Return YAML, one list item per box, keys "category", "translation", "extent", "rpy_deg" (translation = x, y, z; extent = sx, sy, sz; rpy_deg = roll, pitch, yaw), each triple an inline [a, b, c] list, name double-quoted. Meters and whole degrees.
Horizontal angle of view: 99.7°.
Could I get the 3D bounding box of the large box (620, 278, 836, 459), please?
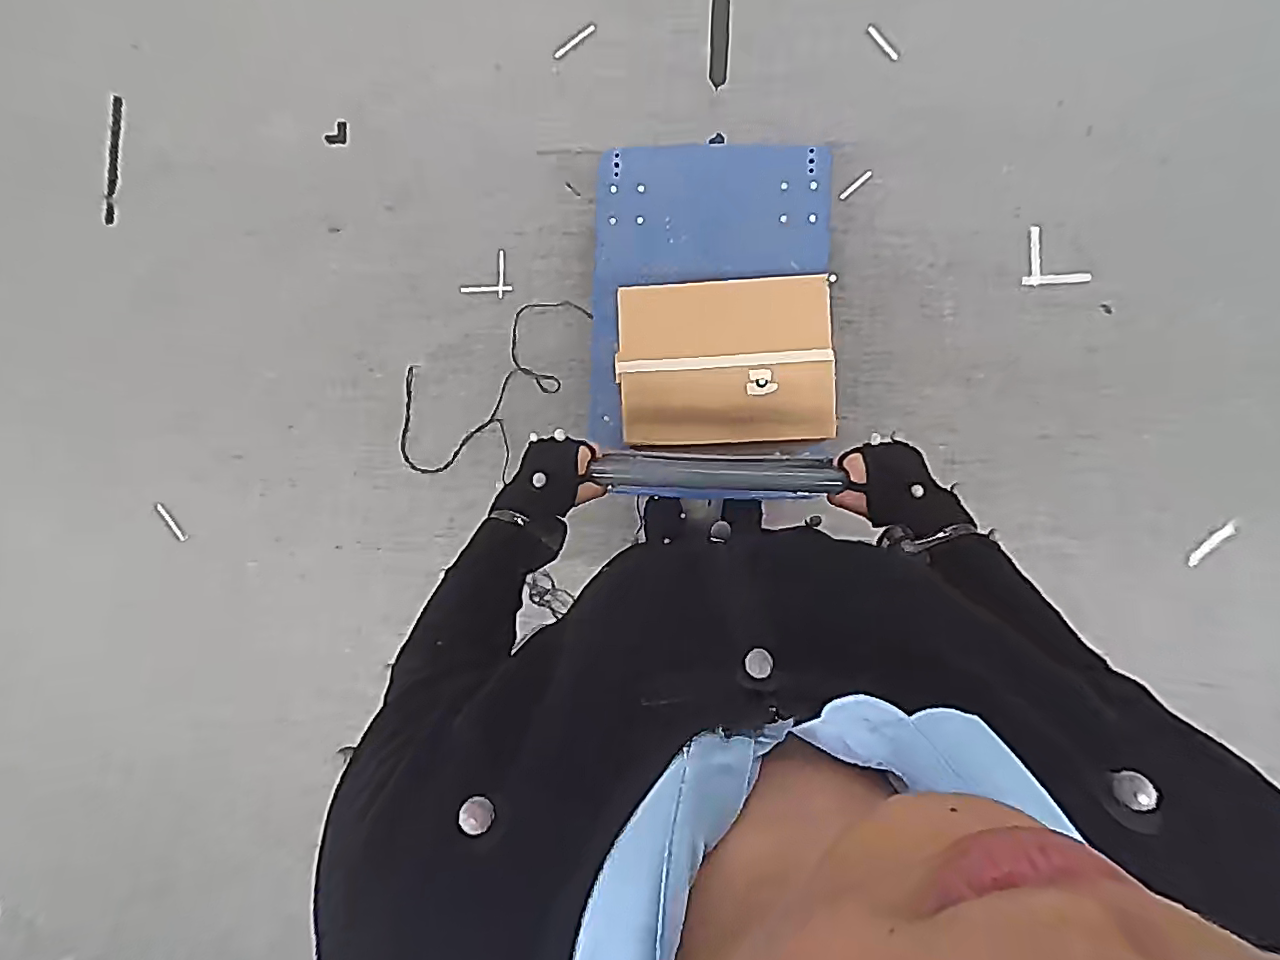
- category: "large box"
  translation: [0.175, -0.219, 1.190]
  extent: [0.408, 0.320, 0.320]
  rpy_deg: [-3, 89, 4]
